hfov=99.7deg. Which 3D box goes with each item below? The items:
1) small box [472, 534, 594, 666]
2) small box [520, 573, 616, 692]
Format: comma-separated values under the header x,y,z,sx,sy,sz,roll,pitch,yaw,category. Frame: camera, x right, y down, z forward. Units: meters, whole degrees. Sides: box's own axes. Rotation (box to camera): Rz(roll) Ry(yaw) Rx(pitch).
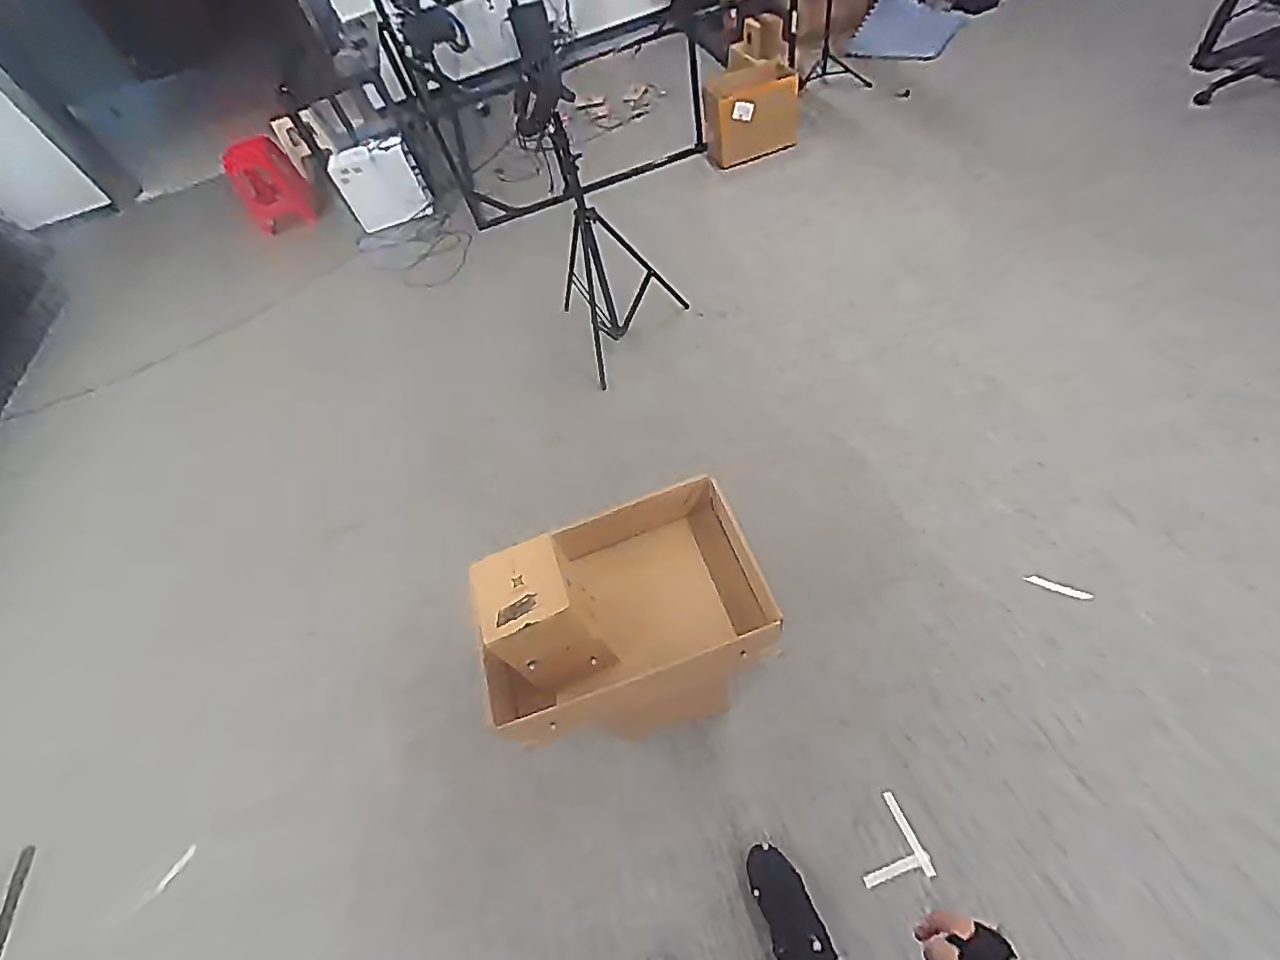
x,y,z,sx,sy,sz,roll,pitch,yaw,category
-0.203,0.242,1.052,0.168,0.176,0.179,-23,52,-2,small box
-0.164,0.337,1.180,0.179,0.176,0.168,-25,53,-2,small box
